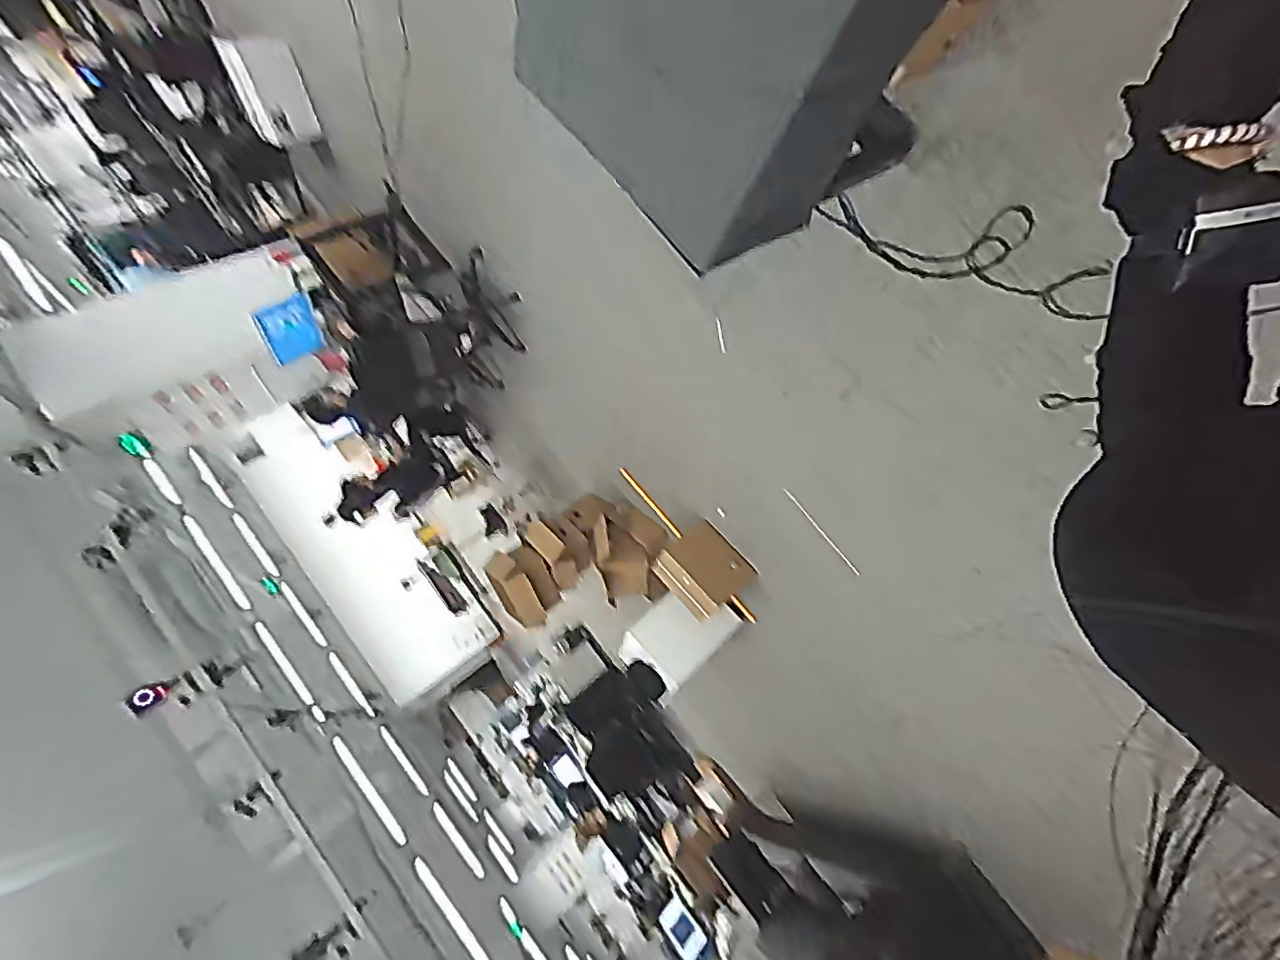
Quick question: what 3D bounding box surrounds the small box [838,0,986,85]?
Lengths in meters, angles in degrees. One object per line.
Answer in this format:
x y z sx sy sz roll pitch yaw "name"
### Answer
0.549 -0.952 1.093 0.179 0.176 0.168 55 153 0 "small box"
